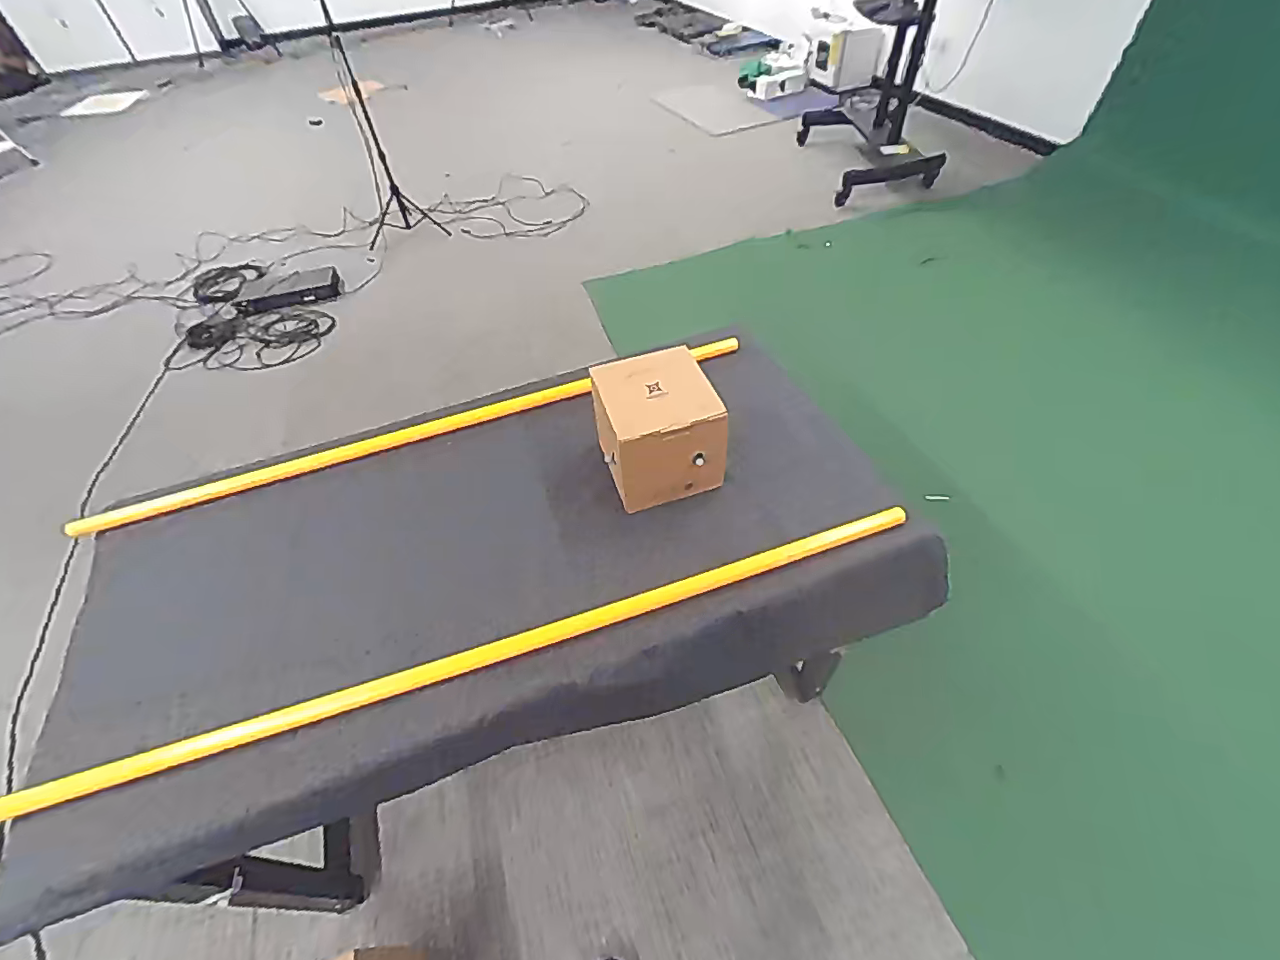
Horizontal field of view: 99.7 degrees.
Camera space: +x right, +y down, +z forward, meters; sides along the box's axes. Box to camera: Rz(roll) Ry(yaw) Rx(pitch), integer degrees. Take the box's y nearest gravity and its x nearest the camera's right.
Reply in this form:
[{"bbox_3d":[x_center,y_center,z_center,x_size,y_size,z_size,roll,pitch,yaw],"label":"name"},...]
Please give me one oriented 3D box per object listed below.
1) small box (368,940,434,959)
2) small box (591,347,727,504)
[{"bbox_3d":[-0.462,0.975,0.969,0.168,0.176,0.179,-24,53,-15],"label":"small box"},{"bbox_3d":[0.029,-0.081,0.869,0.168,0.176,0.179,-16,49,-10],"label":"small box"}]
